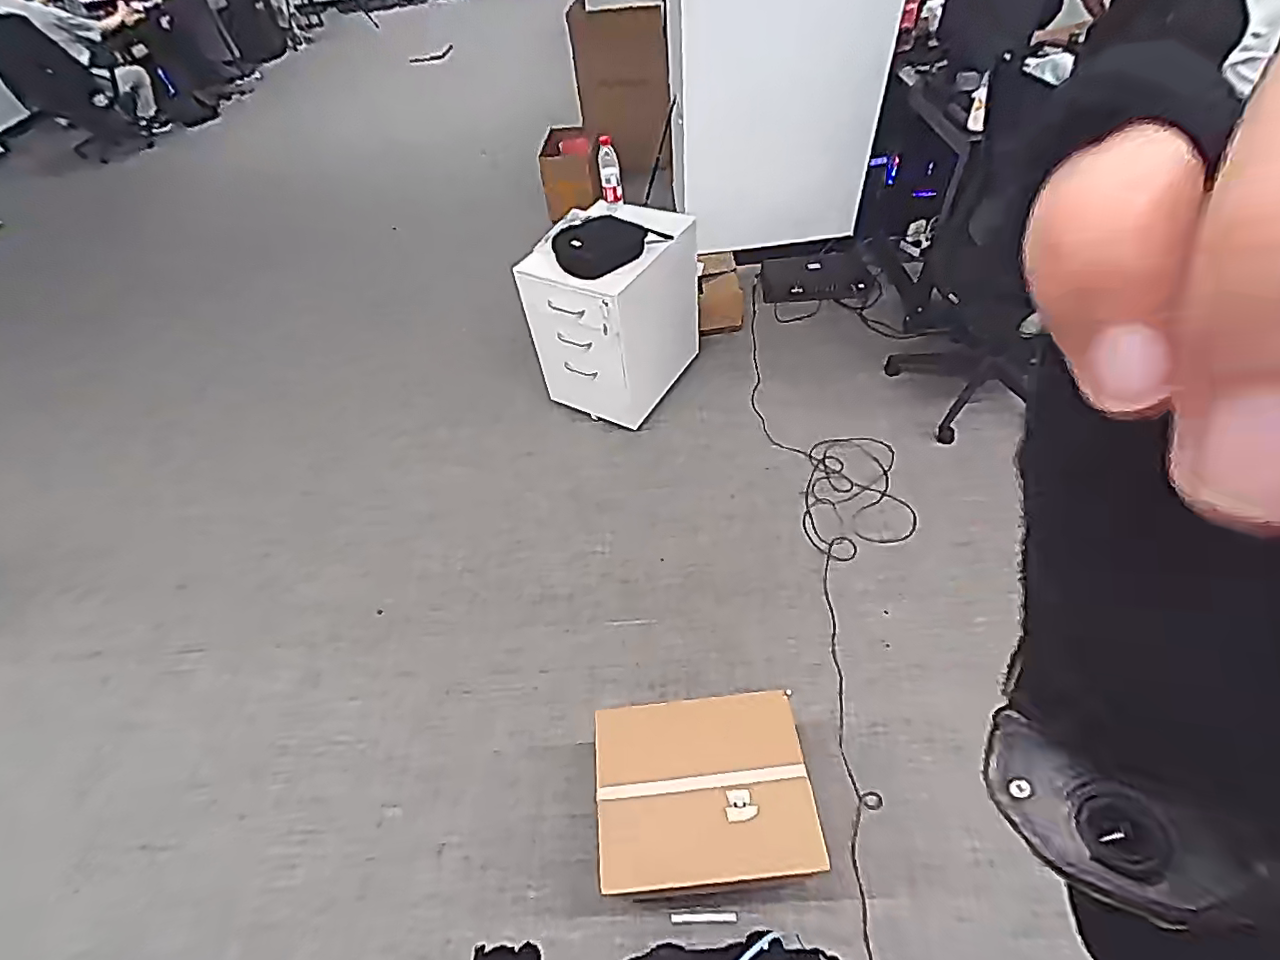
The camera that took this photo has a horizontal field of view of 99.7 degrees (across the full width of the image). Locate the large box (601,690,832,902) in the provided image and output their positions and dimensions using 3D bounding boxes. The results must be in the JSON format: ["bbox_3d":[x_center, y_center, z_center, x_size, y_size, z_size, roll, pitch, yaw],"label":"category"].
[{"bbox_3d":[0.140,0.679,1.157,0.408,0.320,0.320,-7,51,1],"label":"large box"}]
